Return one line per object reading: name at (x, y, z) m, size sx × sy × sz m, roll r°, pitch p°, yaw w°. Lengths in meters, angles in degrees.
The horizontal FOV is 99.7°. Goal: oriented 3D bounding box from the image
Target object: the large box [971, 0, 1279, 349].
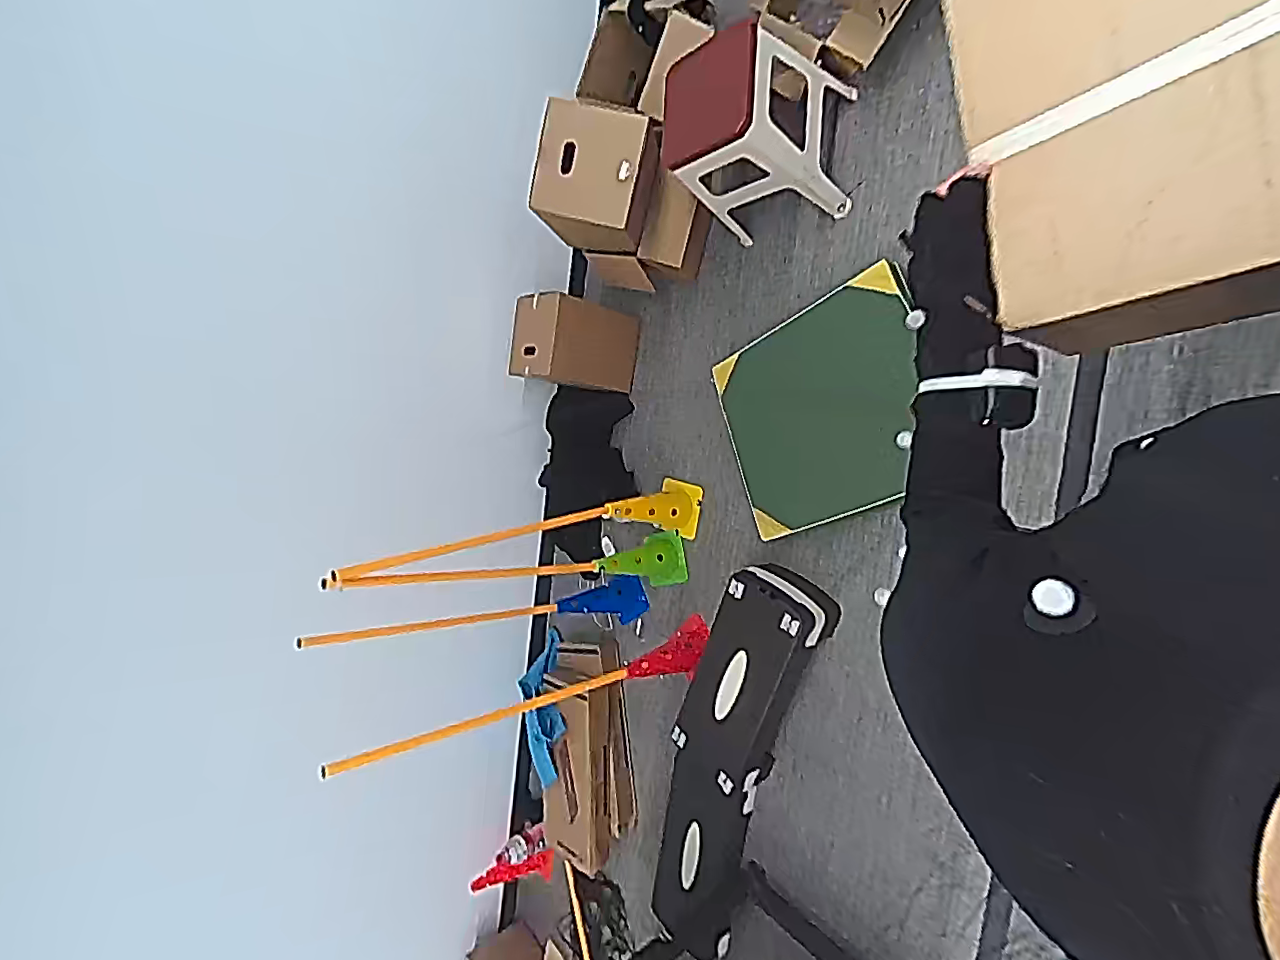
large box at (0.557, -0.322, 0.445) m, size 0.408 × 0.320 × 0.320 m, roll -7°, pitch 90°, yaw 47°
